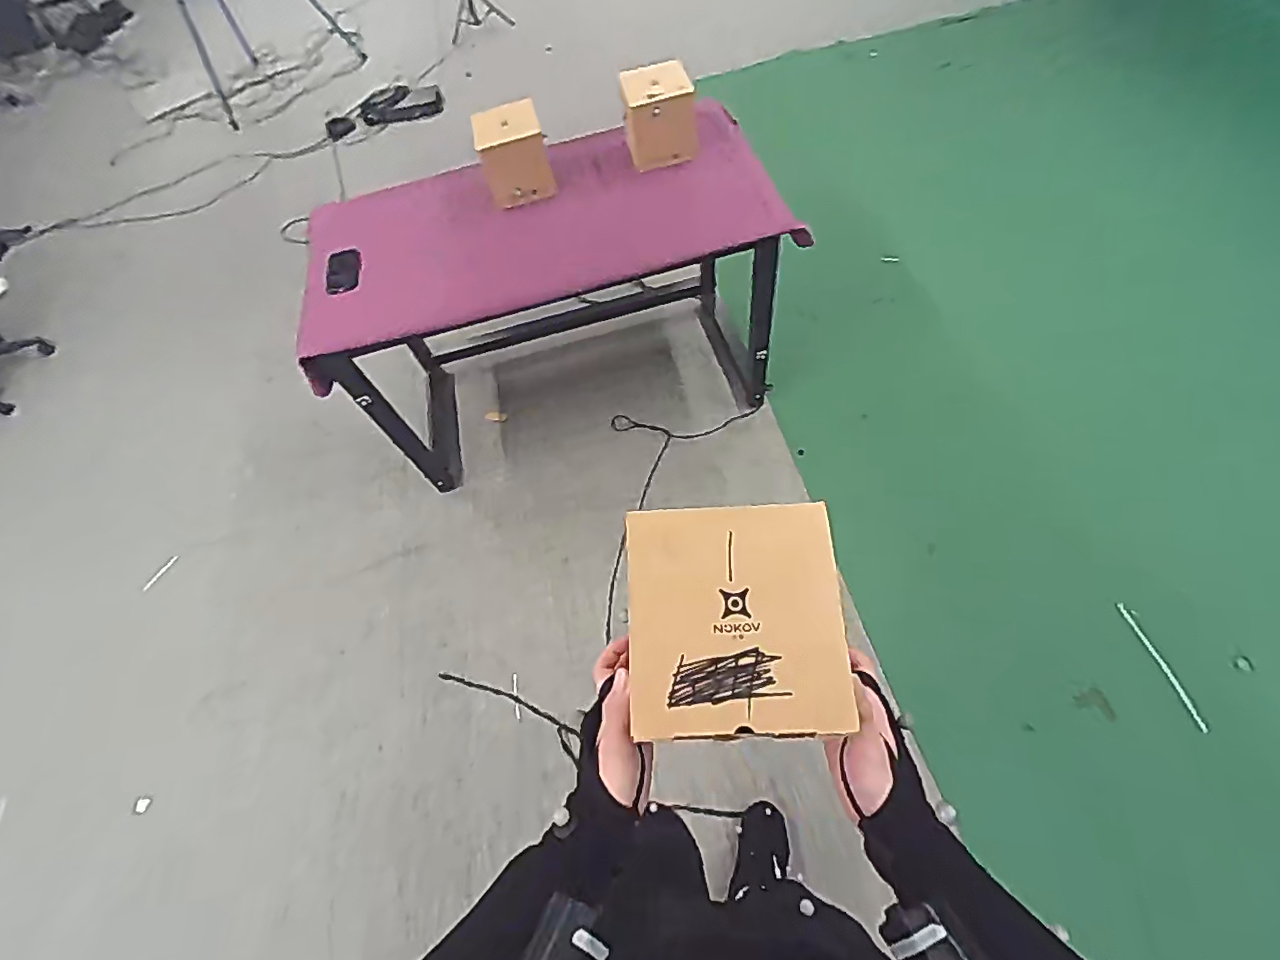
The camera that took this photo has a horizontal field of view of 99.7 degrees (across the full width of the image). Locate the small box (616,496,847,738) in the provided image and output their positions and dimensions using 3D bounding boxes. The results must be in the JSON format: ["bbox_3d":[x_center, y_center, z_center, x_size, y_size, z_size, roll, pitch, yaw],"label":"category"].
[{"bbox_3d":[0.069,0.124,0.485,0.168,0.176,0.179,-3,70,3],"label":"small box"}]

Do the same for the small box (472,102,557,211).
[{"bbox_3d":[-0.327,-0.849,1.424,0.168,0.176,0.179,-16,60,0],"label":"small box"}]

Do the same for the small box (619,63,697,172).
[{"bbox_3d":[0.049,-0.950,1.423,0.168,0.176,0.179,-15,59,1],"label":"small box"}]
